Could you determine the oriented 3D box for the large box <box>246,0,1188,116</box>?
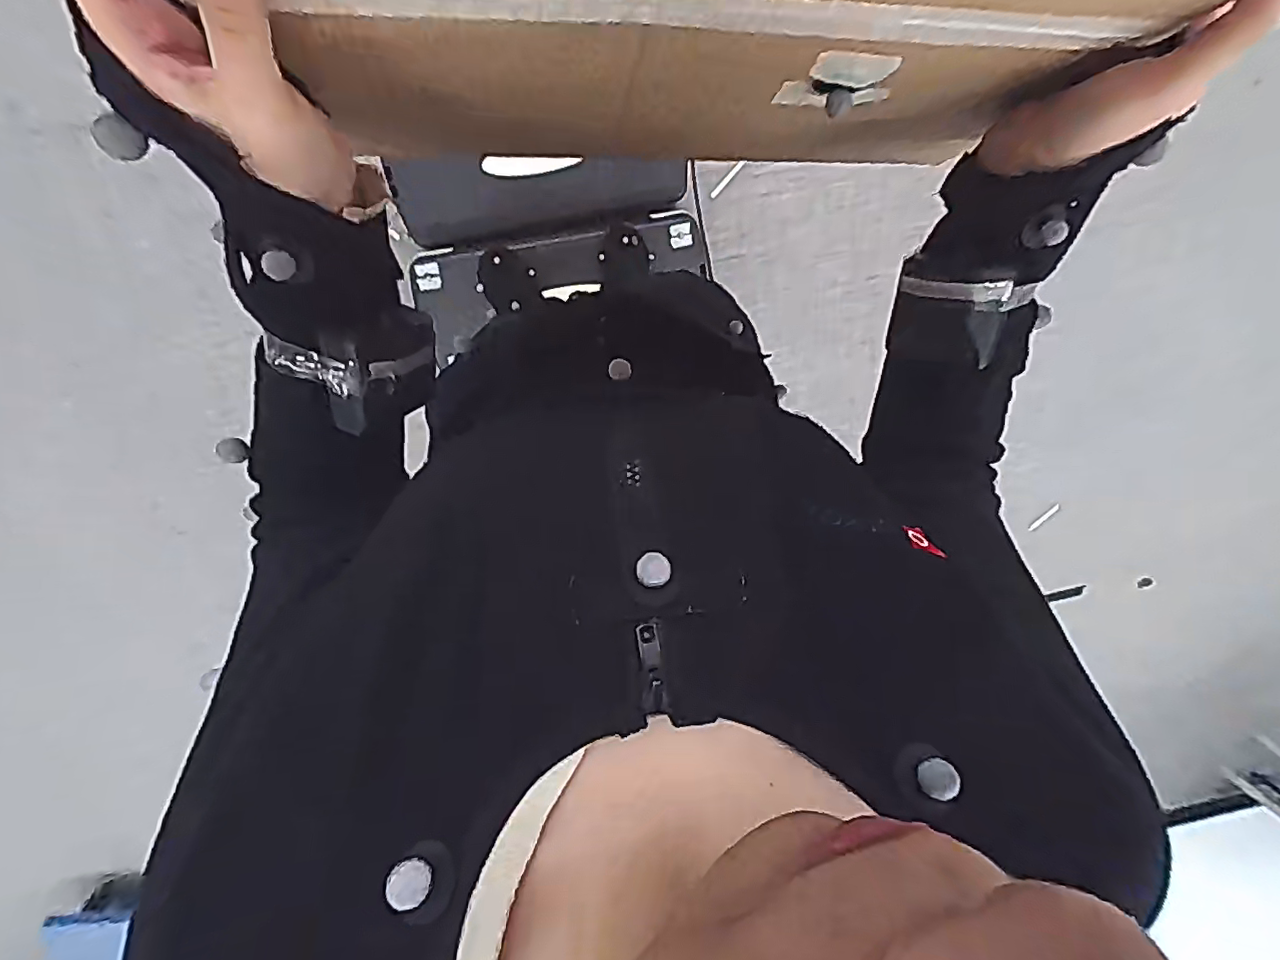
[{"bbox_3d":[0.042,-0.341,0.150,0.408,0.320,0.320,-5,102,-9],"label":"large box"}]

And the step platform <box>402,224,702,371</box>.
[{"bbox_3d":[-0.194,-0.437,1.294,0.684,0.204,0.286,-6,117,-5],"label":"step platform"}]
